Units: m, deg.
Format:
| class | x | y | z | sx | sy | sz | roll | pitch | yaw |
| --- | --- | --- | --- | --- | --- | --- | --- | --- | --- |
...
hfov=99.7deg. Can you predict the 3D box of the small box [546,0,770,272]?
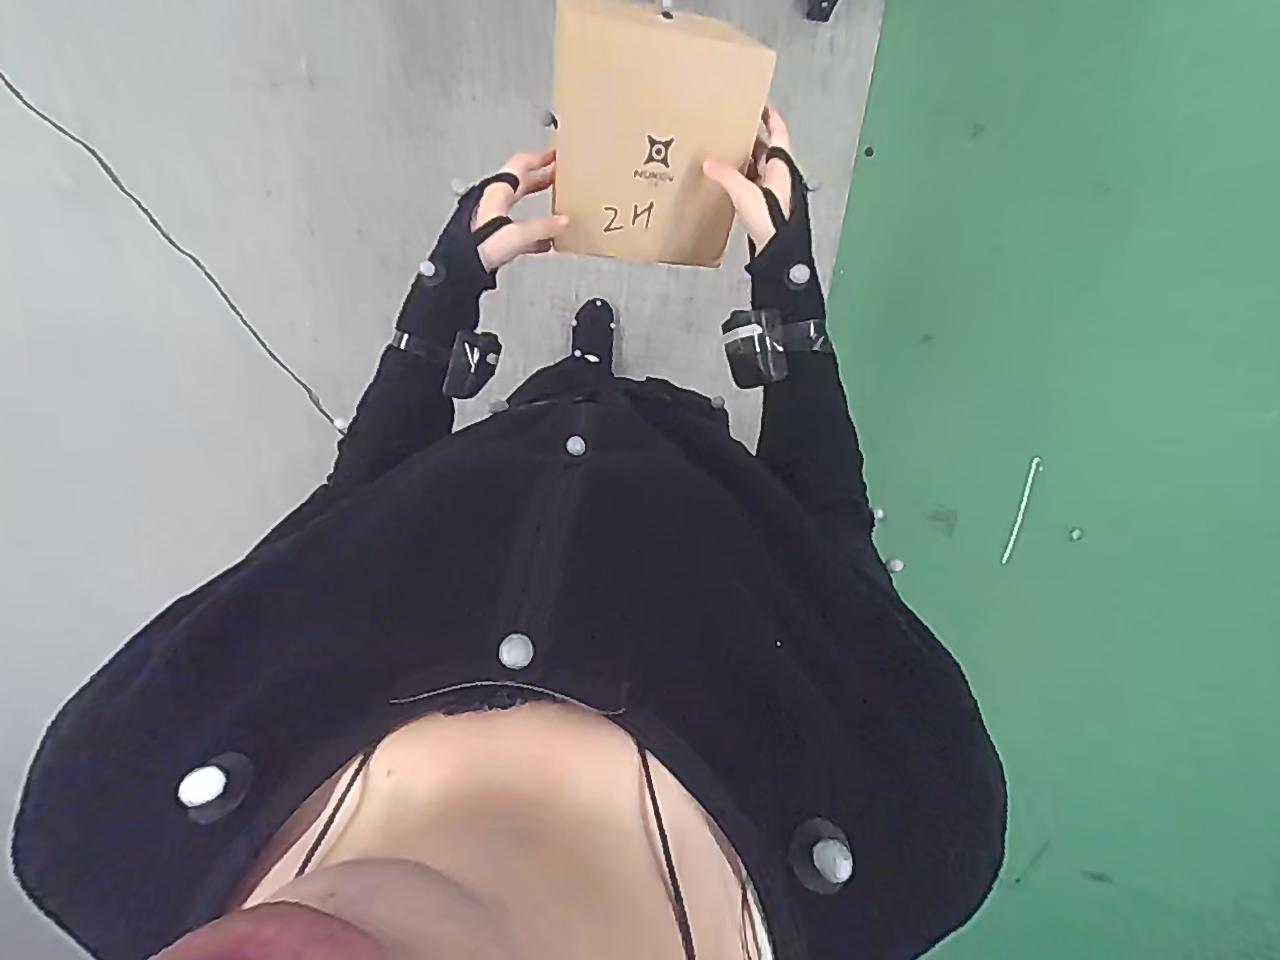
| class | x | y | z | sx | sy | sz | roll | pitch | yaw |
| --- | --- | --- | --- | --- | --- | --- | --- | --- | --- |
| small box | -0.002 | -0.326 | 0.513 | 0.168 | 0.176 | 0.179 | 2 | 136 | -11 |
